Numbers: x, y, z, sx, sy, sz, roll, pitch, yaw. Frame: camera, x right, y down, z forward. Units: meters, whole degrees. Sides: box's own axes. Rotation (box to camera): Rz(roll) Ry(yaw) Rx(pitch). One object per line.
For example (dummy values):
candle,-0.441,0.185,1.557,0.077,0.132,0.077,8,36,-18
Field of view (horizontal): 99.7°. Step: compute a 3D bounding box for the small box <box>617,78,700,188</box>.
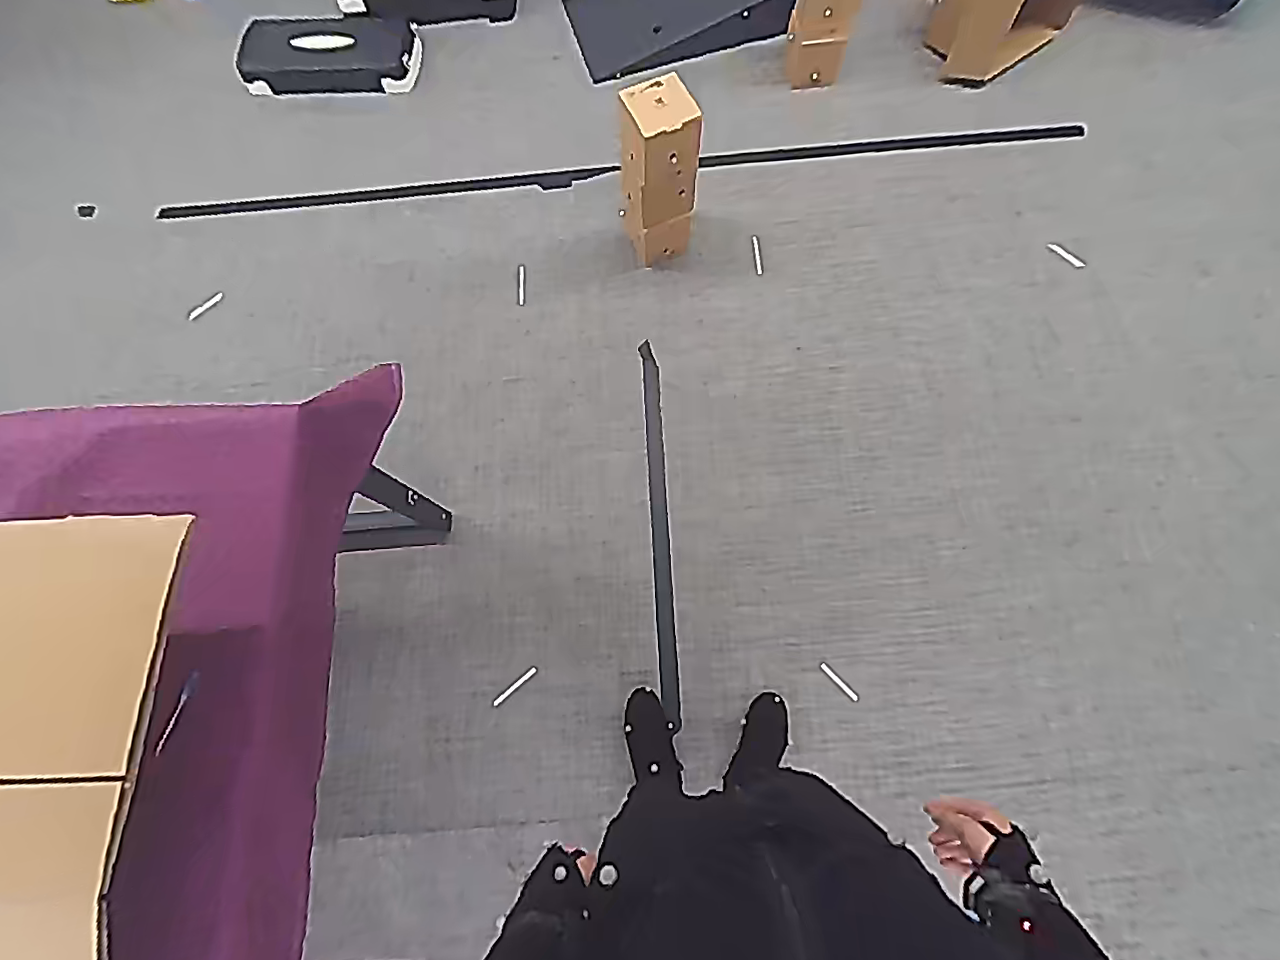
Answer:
small box,0.050,-0.930,1.470,0.168,0.176,0.179,-23,74,-6
